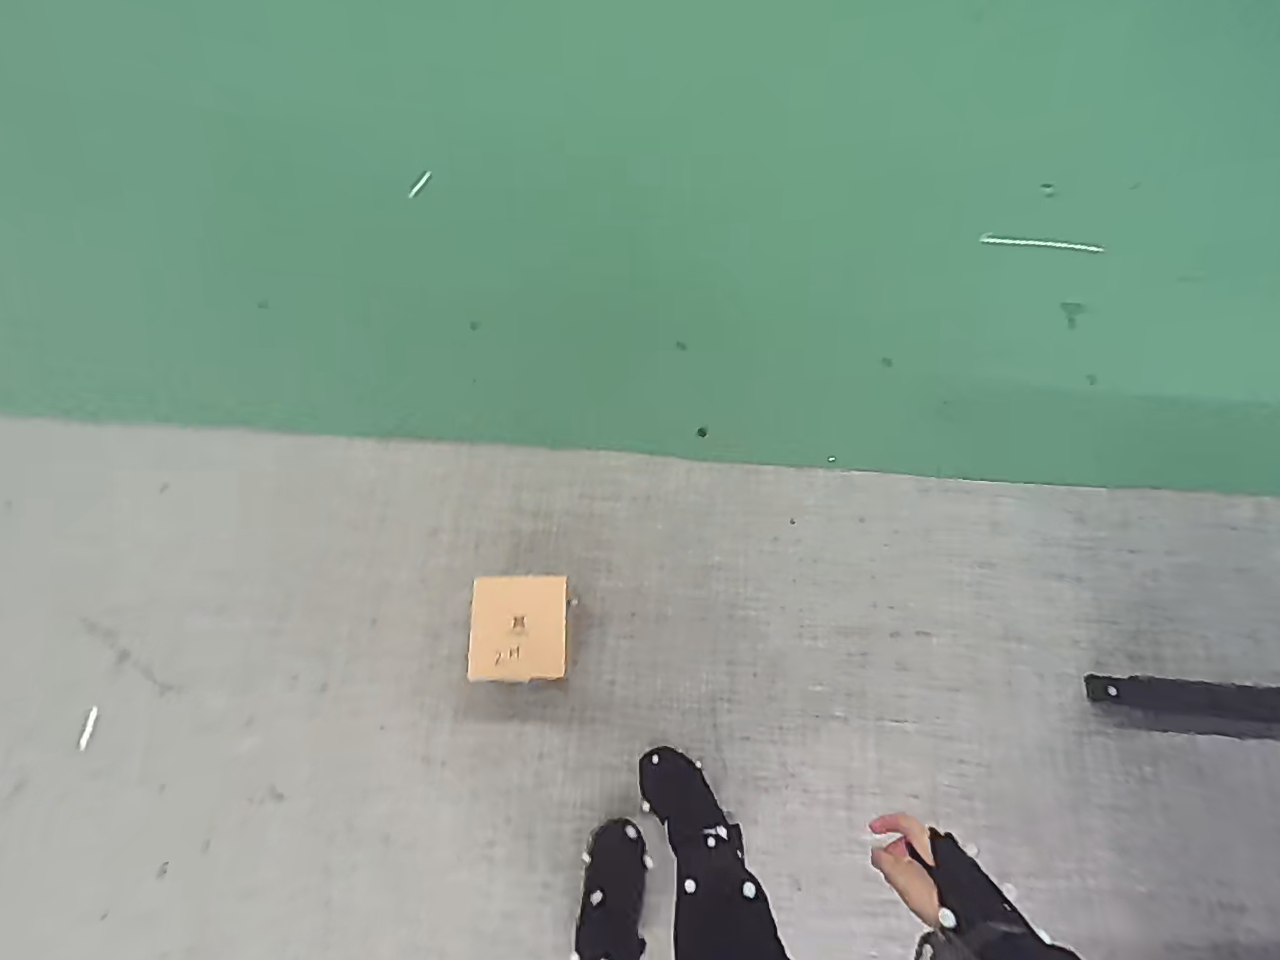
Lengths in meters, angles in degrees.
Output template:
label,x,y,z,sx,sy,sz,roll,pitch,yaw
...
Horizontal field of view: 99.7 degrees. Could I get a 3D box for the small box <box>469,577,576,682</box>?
label,x,y,z,sx,sy,sz,roll,pitch,yaw
small box,-0.213,0.283,1.020,0.168,0.176,0.179,-1,73,-2
